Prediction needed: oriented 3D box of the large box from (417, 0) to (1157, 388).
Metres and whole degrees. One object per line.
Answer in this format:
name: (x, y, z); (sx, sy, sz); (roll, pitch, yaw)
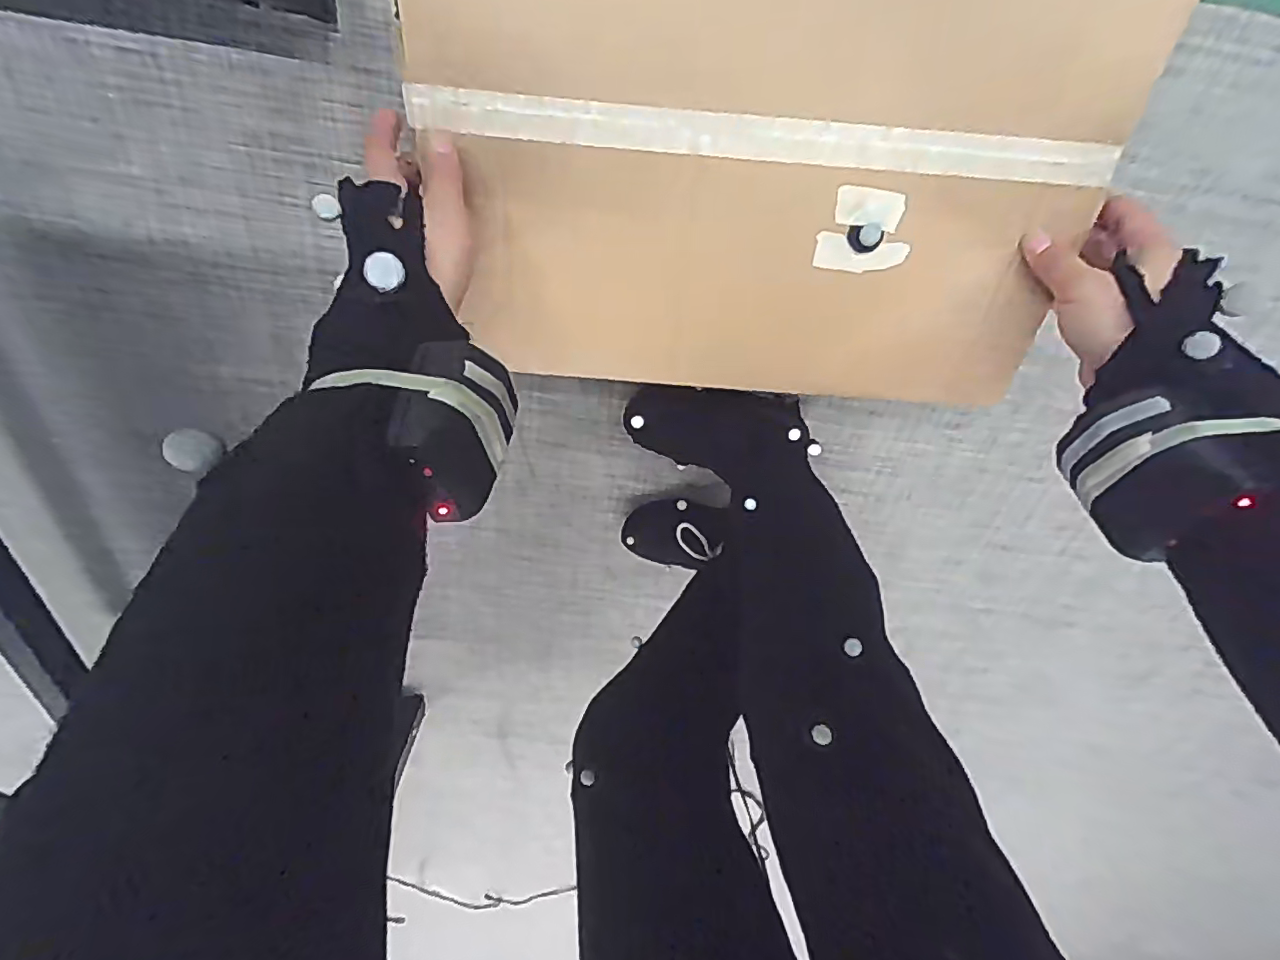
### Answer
large box: (0.071, -0.286, 0.448); (0.408, 0.320, 0.320); (3, 123, -3)
